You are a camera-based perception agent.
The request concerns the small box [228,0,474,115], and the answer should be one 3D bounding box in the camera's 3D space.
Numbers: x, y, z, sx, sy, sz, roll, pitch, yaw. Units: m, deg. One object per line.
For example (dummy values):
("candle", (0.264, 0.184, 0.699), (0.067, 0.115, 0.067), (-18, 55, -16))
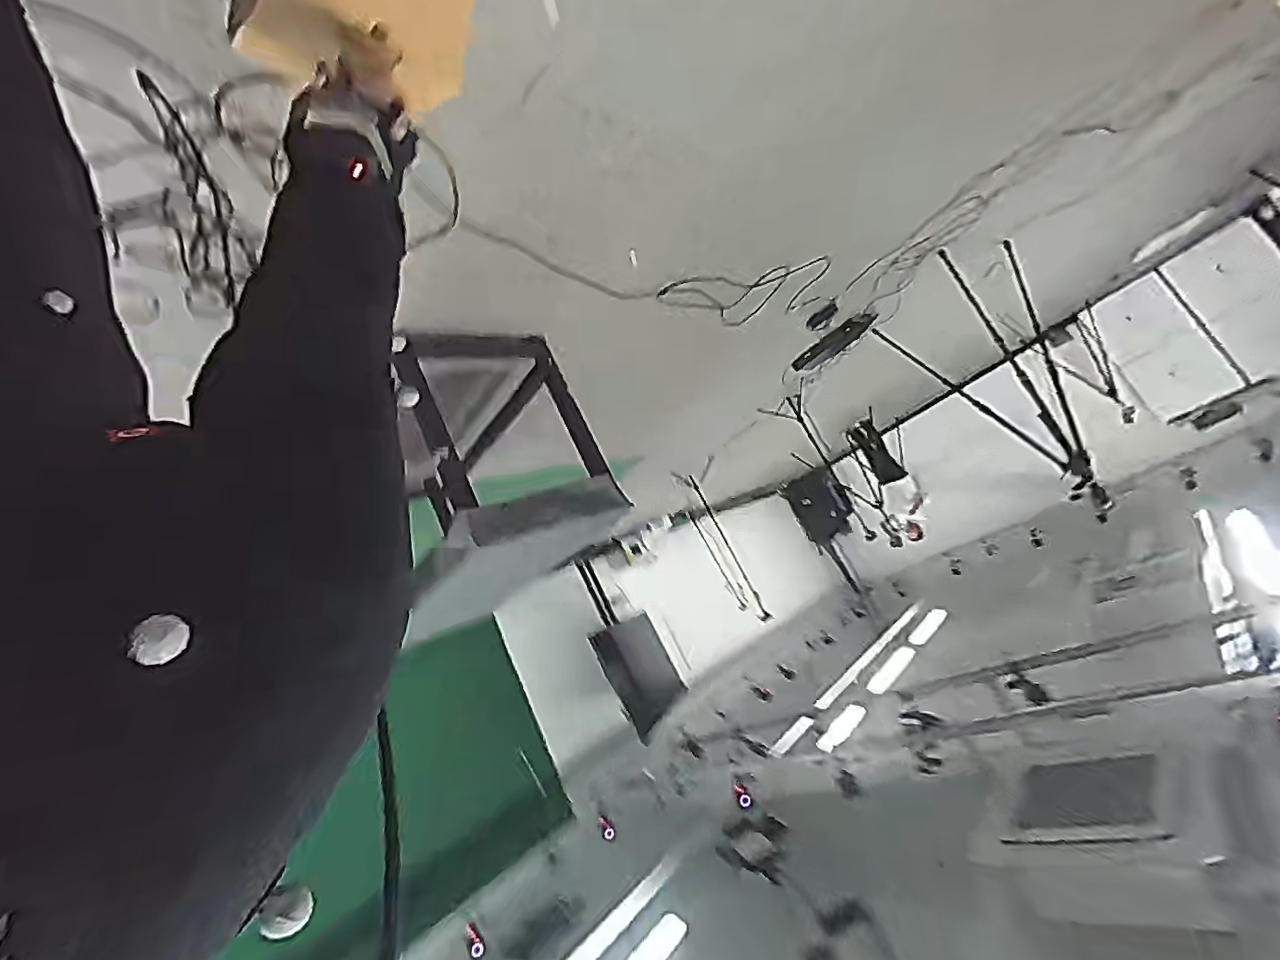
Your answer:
("small box", (-0.277, -0.503, 0.527), (0.176, 0.179, 0.168), (16, -172, 41))
